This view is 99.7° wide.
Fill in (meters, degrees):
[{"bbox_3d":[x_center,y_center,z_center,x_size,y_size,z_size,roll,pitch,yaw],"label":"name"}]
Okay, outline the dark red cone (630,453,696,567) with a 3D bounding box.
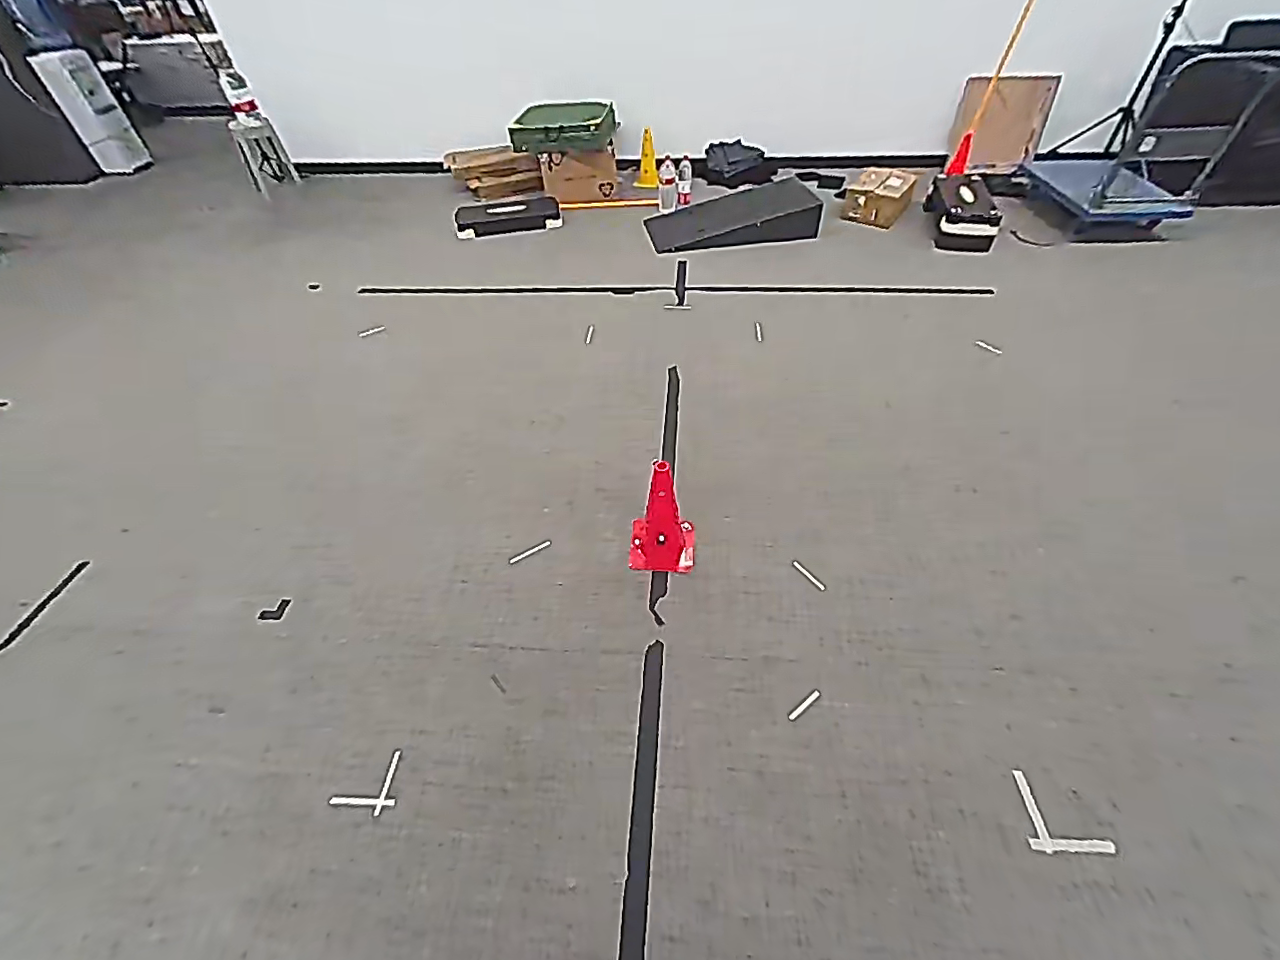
[{"bbox_3d":[0.065,0.071,1.567,0.201,0.394,0.202,1,47,5],"label":"dark red cone"}]
